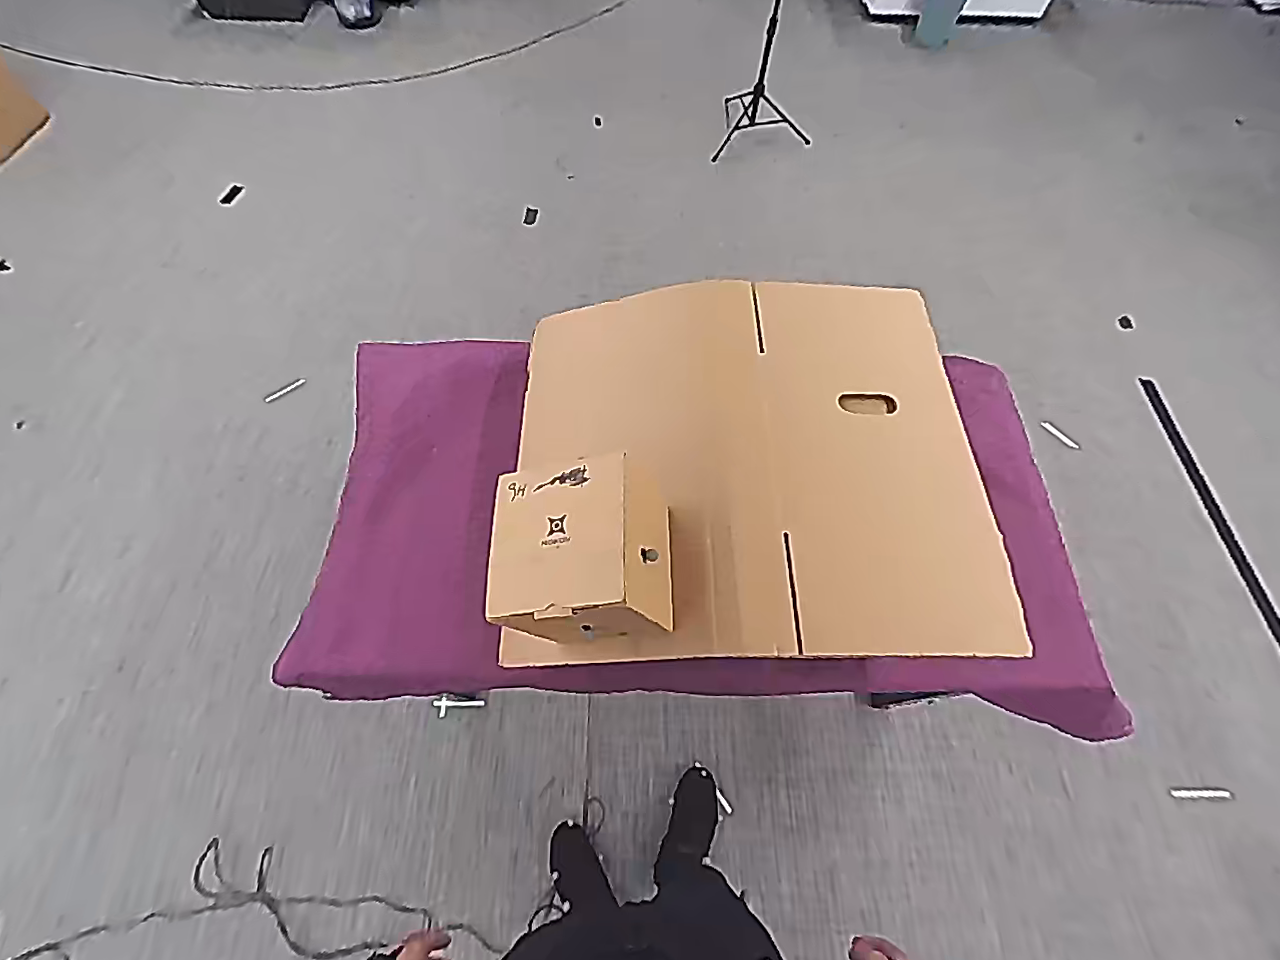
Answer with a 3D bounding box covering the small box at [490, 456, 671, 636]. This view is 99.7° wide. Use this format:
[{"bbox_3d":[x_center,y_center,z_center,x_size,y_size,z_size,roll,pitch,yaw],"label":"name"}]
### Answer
[{"bbox_3d":[-0.063,0.094,0.669,0.168,0.176,0.179,-10,63,17],"label":"small box"}]
